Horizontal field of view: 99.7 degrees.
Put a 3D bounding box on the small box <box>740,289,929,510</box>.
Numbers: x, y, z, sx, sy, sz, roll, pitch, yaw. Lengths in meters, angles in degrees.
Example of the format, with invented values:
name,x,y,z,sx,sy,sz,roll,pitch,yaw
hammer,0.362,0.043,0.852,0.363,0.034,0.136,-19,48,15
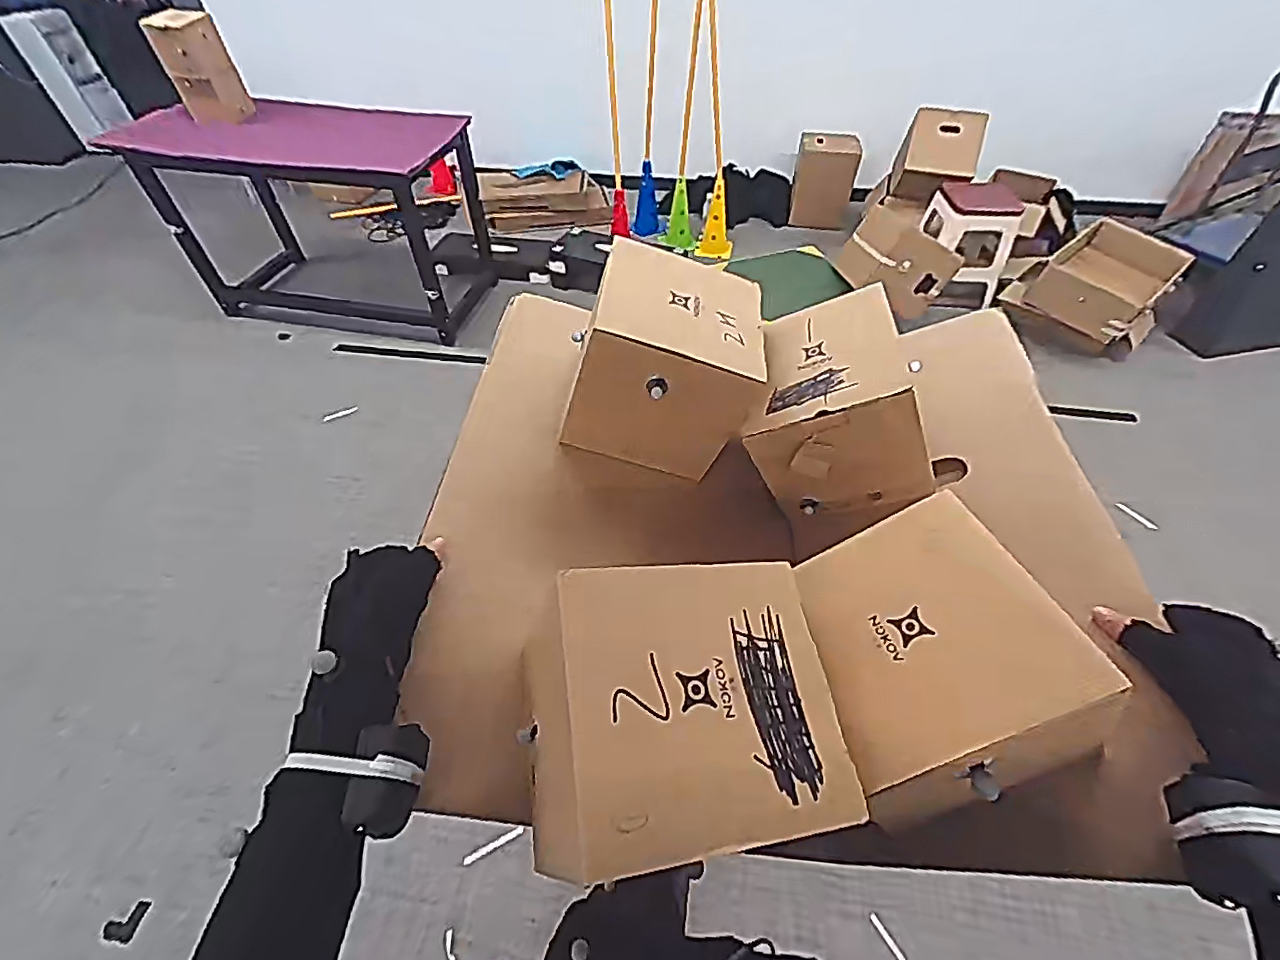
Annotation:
name,x,y,z,sx,sy,sz,roll,pitch,yaw
small box,0.226,-0.081,0.635,0.168,0.176,0.179,-14,46,27
